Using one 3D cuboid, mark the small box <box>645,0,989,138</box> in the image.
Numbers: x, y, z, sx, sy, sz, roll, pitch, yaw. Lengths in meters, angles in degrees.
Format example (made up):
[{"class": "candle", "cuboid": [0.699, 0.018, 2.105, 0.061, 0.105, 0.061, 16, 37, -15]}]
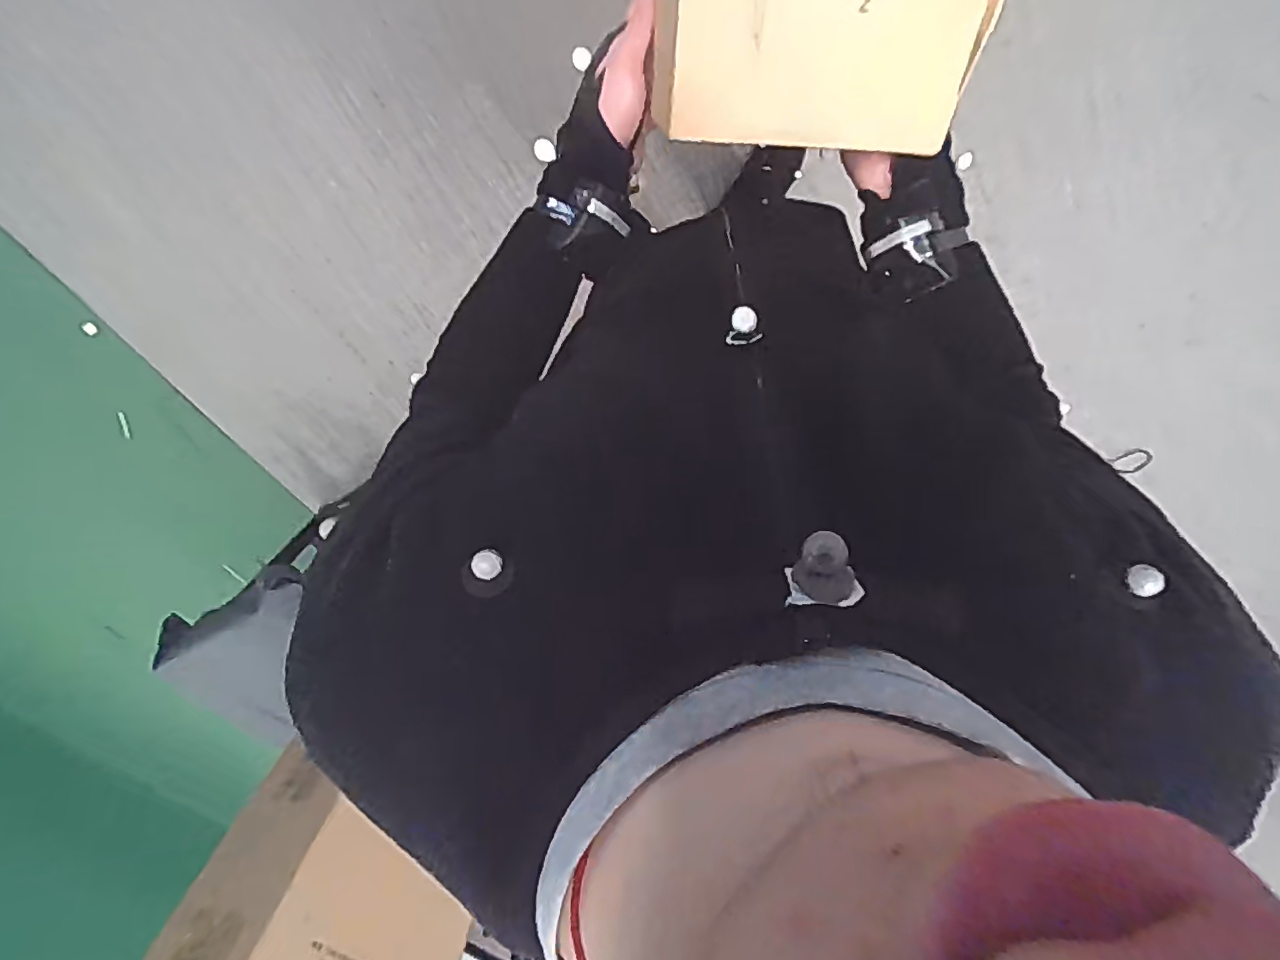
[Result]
[{"class": "small box", "cuboid": [0.100, -0.326, 0.336, 0.179, 0.176, 0.168, 0, 130, -5]}]
